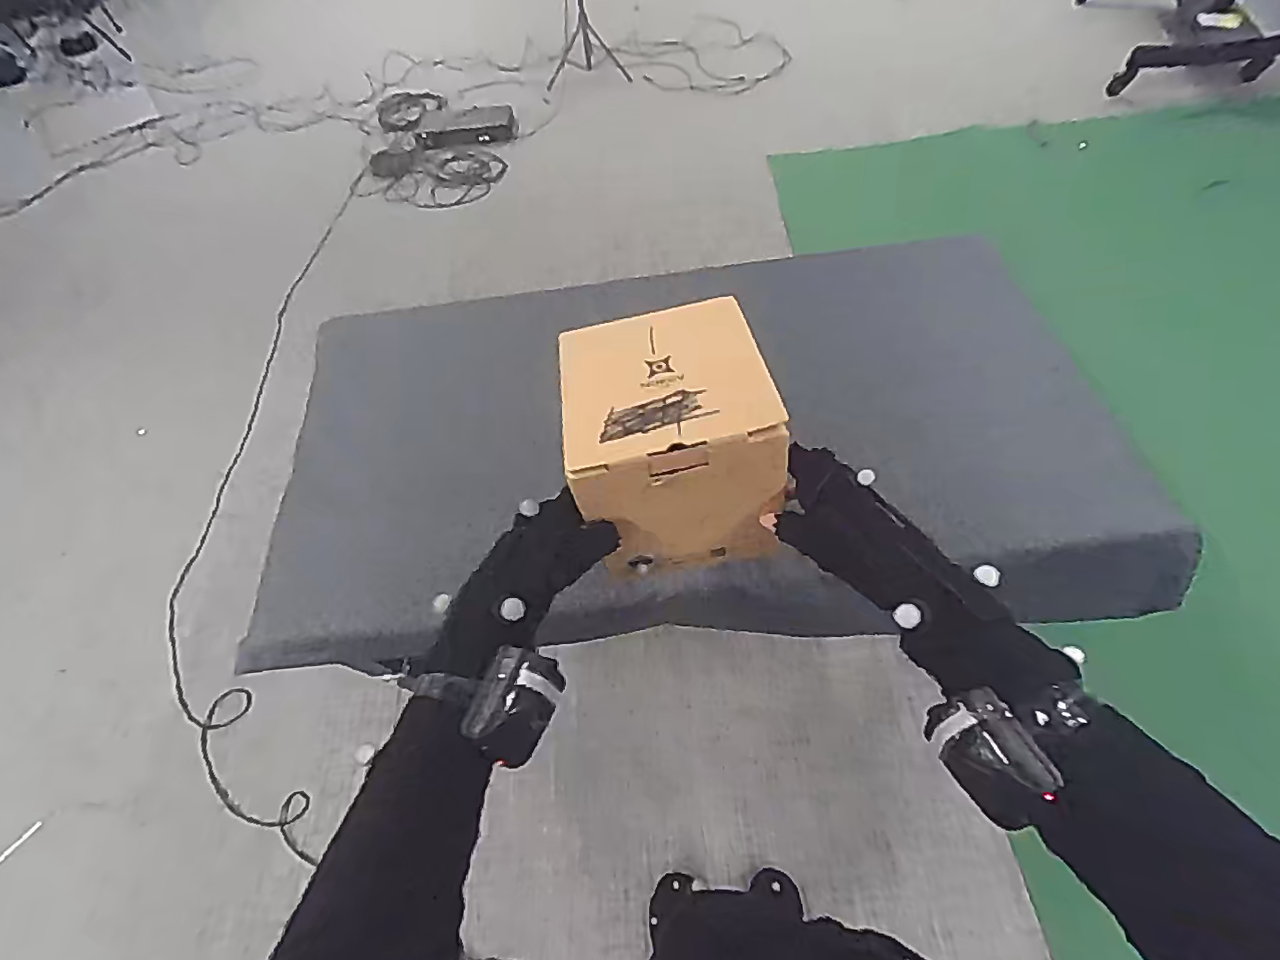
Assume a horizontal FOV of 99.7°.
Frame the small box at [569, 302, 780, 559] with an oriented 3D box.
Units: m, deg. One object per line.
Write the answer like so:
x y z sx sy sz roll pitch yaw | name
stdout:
0.034 -0.038 0.526 0.168 0.176 0.179 -11 51 4 | small box
